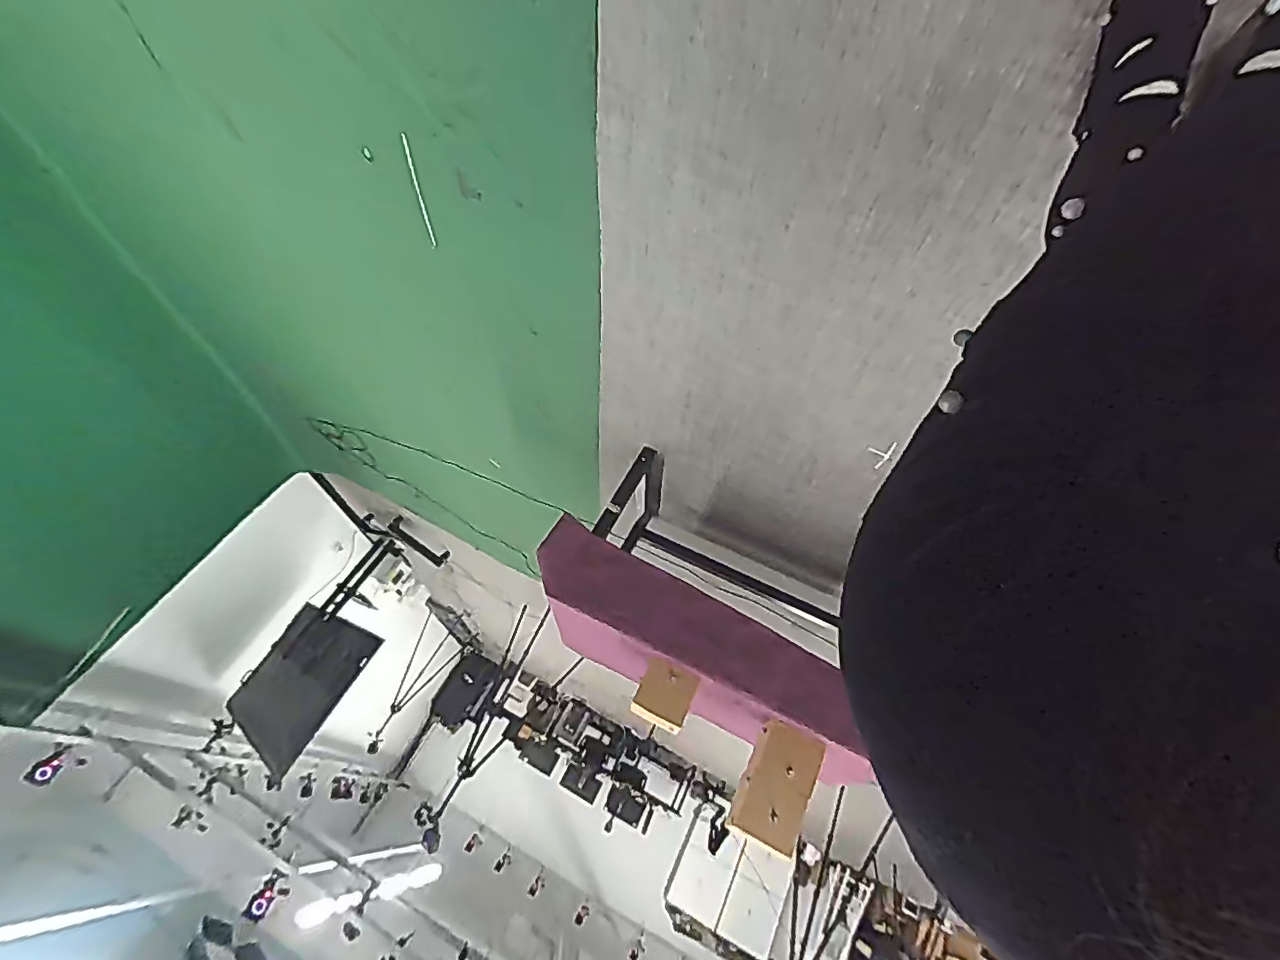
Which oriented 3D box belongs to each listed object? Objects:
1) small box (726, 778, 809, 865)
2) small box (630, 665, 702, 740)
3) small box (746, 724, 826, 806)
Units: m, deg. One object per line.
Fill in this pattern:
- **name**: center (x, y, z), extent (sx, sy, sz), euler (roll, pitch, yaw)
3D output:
- **small box**: center (0.382, 1.019, 1.626), extent (0.179, 0.176, 0.168), euler (24, 149, 10)
- **small box**: center (0.085, 0.735, 1.801), extent (0.179, 0.176, 0.168), euler (25, 150, 12)
- **small box**: center (0.461, 0.899, 1.705), extent (0.179, 0.176, 0.168), euler (26, 149, 11)
